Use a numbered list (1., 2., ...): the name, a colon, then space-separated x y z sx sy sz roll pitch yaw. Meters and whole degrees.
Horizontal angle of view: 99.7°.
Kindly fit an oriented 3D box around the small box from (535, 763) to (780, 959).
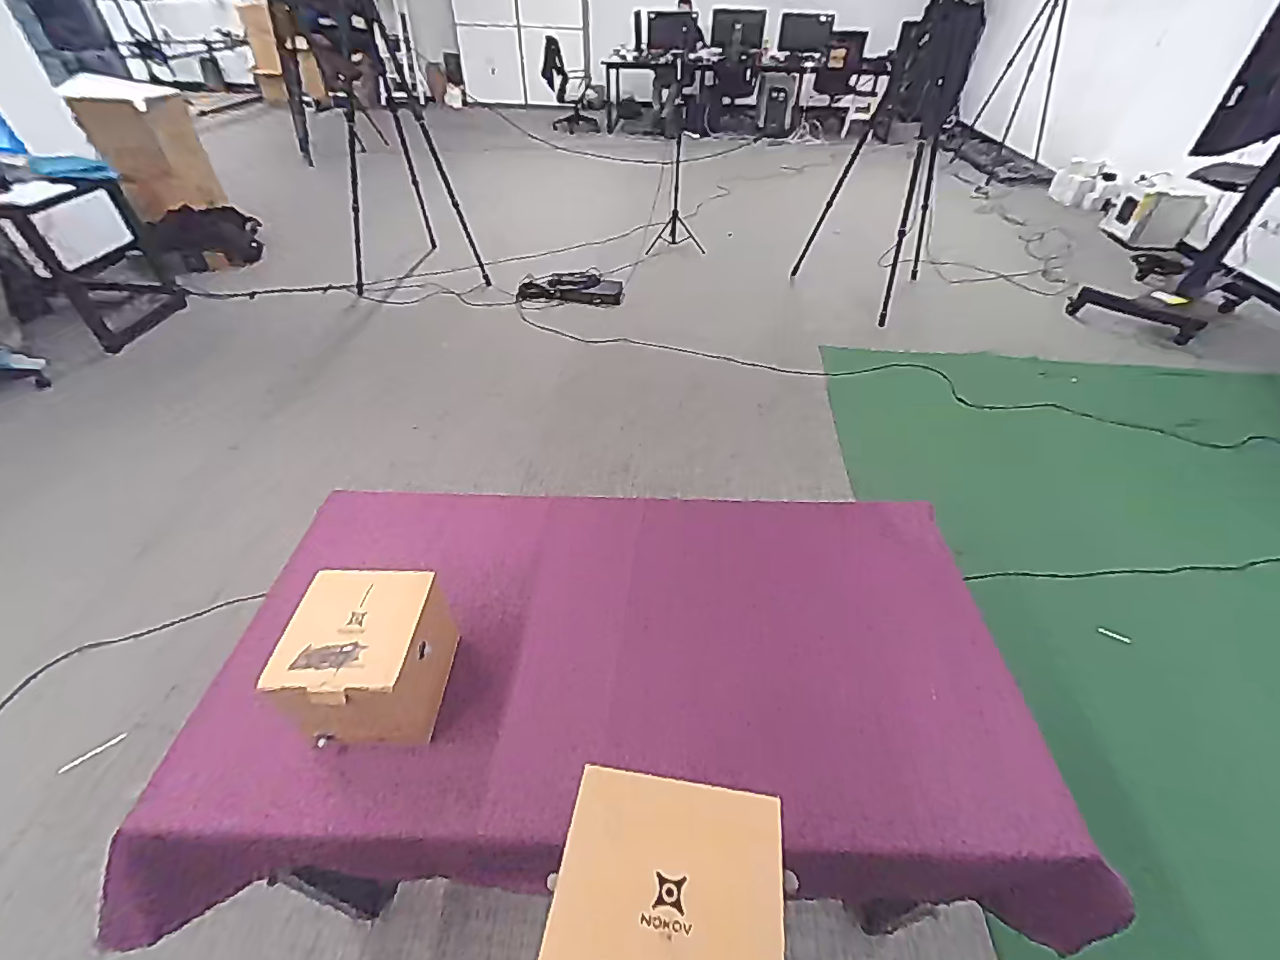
1. small box: 0.018 0.367 0.438 0.168 0.176 0.179 5 40 9

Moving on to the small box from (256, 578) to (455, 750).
1. small box: -0.371 0.256 0.749 0.168 0.176 0.179 1 41 0
